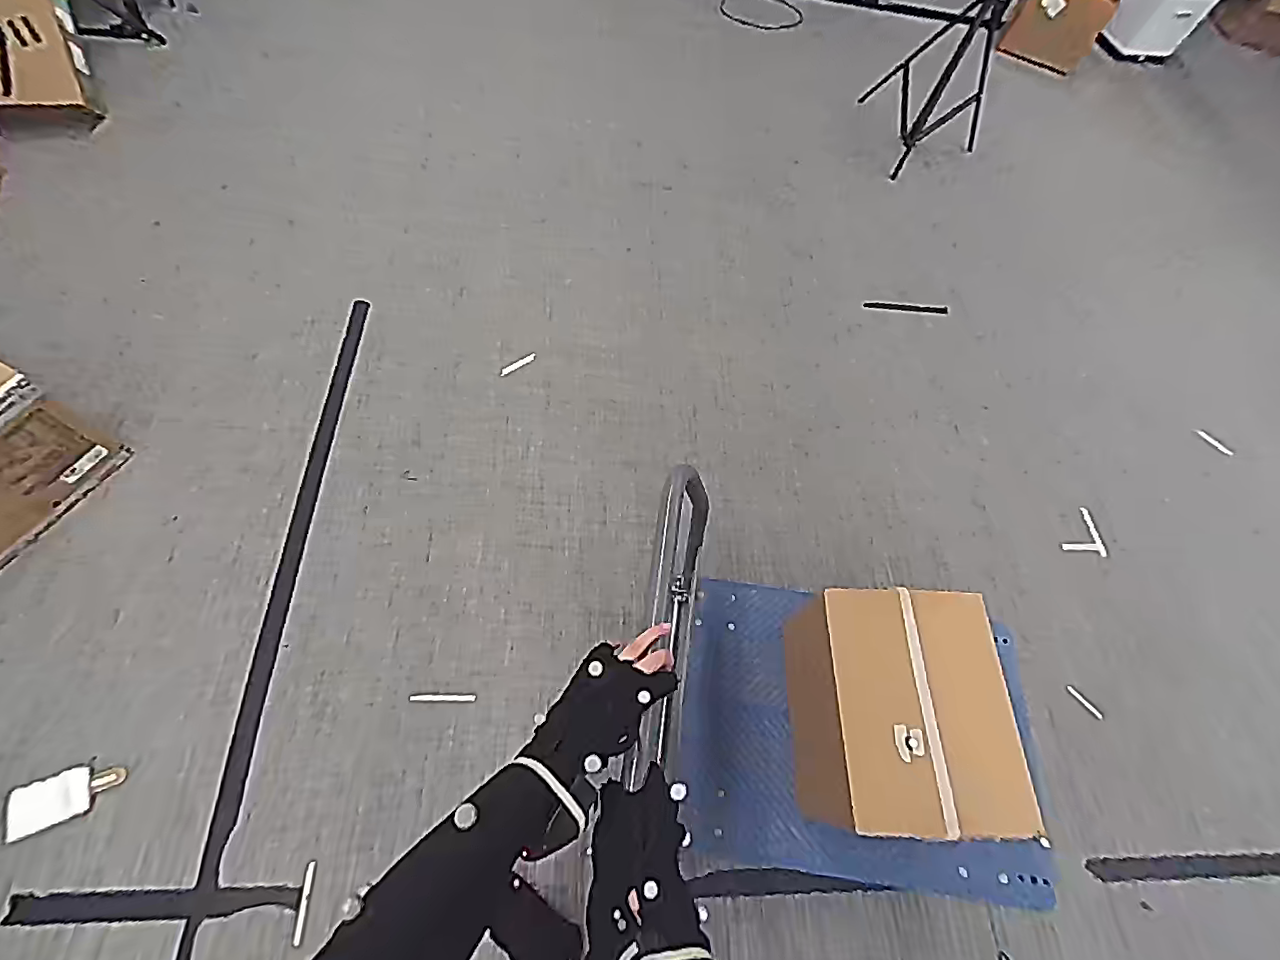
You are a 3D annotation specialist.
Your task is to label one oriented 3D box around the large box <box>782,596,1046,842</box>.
[{"bbox_3d":[0.497,0.468,1.086,0.320,0.320,0.408,1,63,-1],"label":"large box"}]
